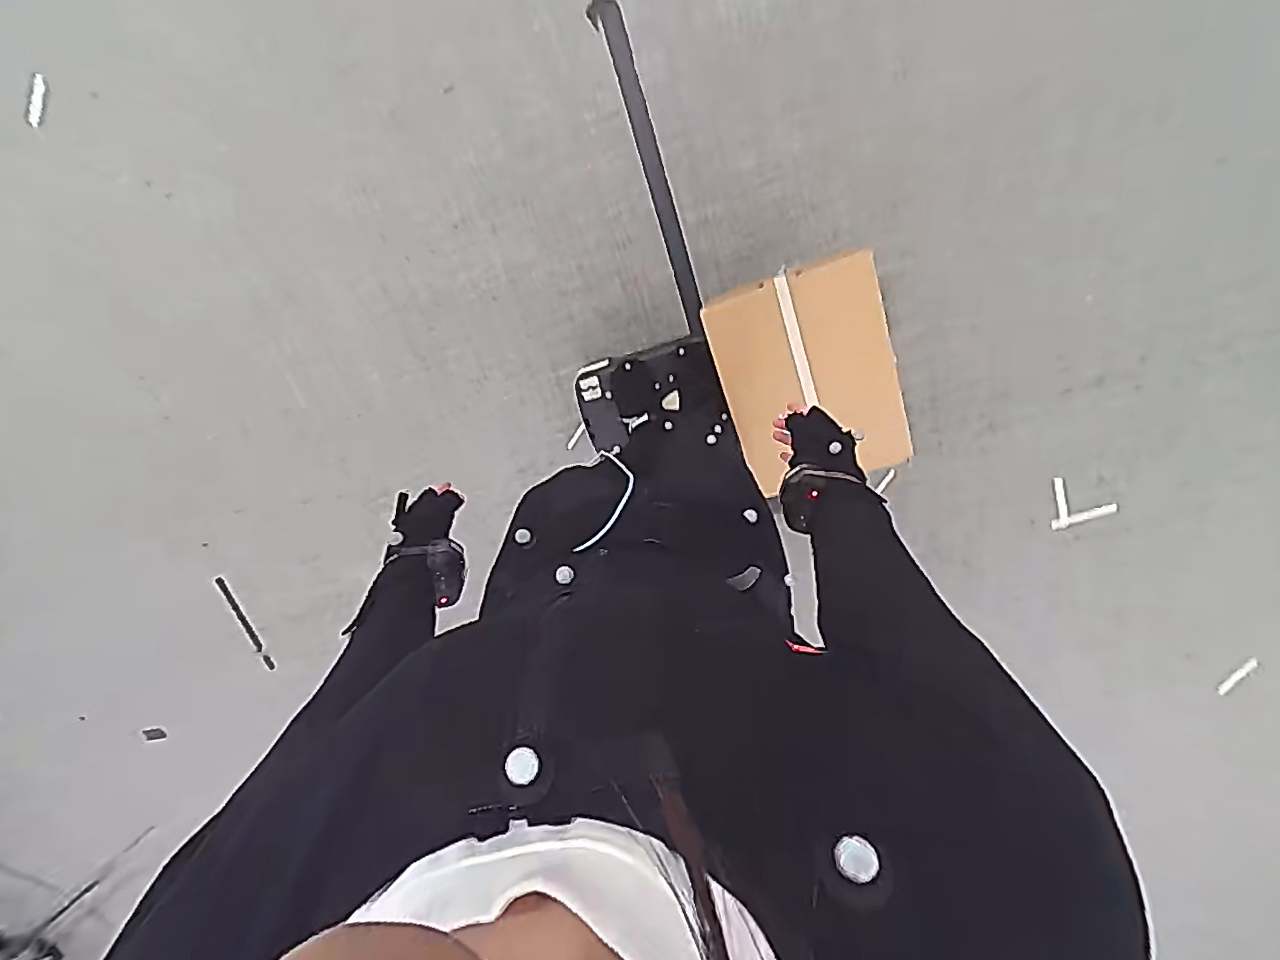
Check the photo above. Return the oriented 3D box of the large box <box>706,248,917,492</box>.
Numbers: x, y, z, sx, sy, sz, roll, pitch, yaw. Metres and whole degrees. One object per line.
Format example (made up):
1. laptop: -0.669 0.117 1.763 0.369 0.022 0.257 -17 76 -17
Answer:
1. large box: 0.358 -0.244 1.171 0.320 0.320 0.408 -15 109 18
